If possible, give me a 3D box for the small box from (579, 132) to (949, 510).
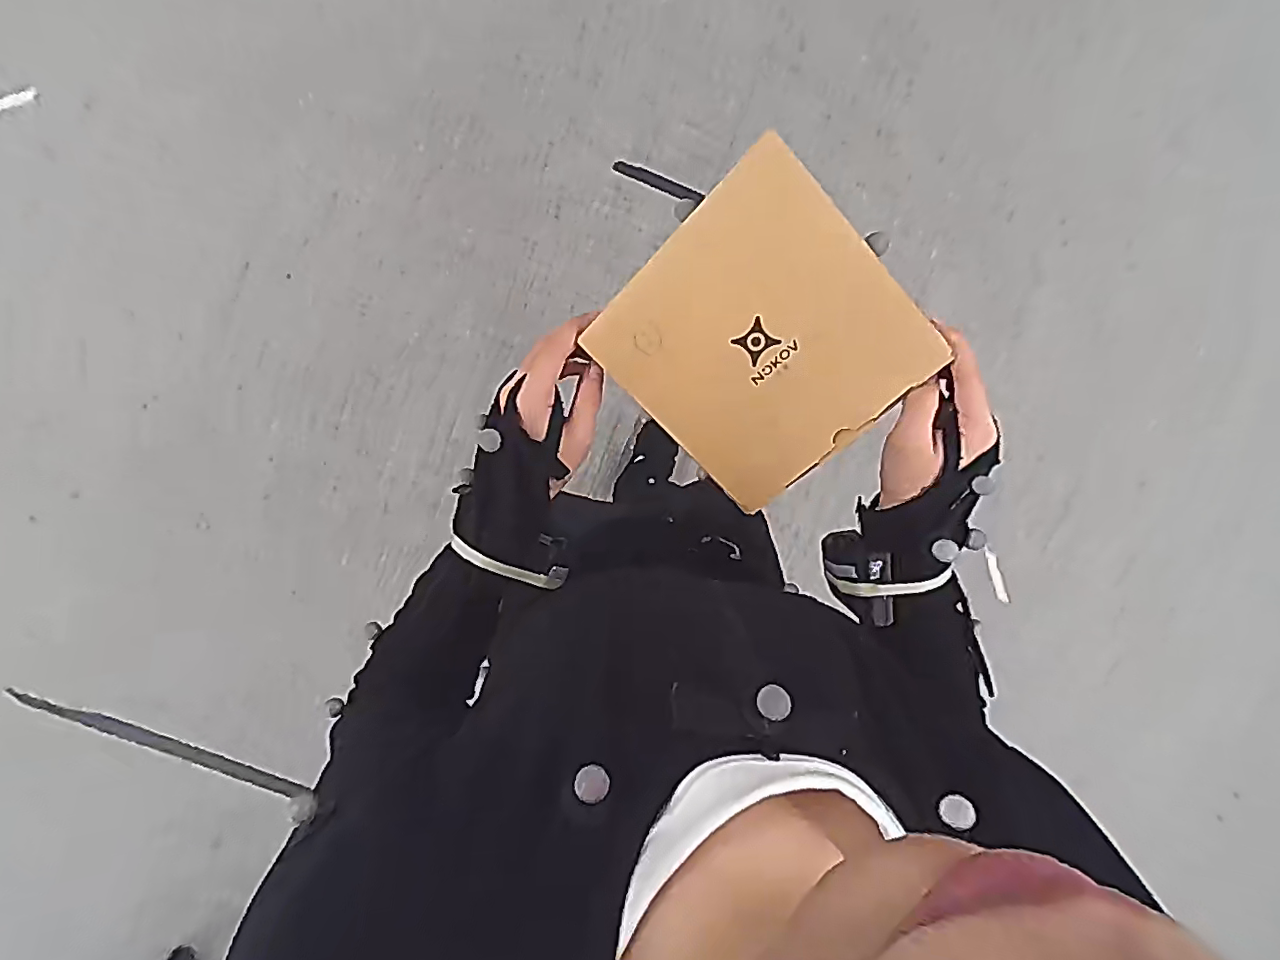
[{"bbox_3d":[0.081,-0.115,0.414,0.179,0.176,0.168,43,110,-14],"label":"small box"}]
